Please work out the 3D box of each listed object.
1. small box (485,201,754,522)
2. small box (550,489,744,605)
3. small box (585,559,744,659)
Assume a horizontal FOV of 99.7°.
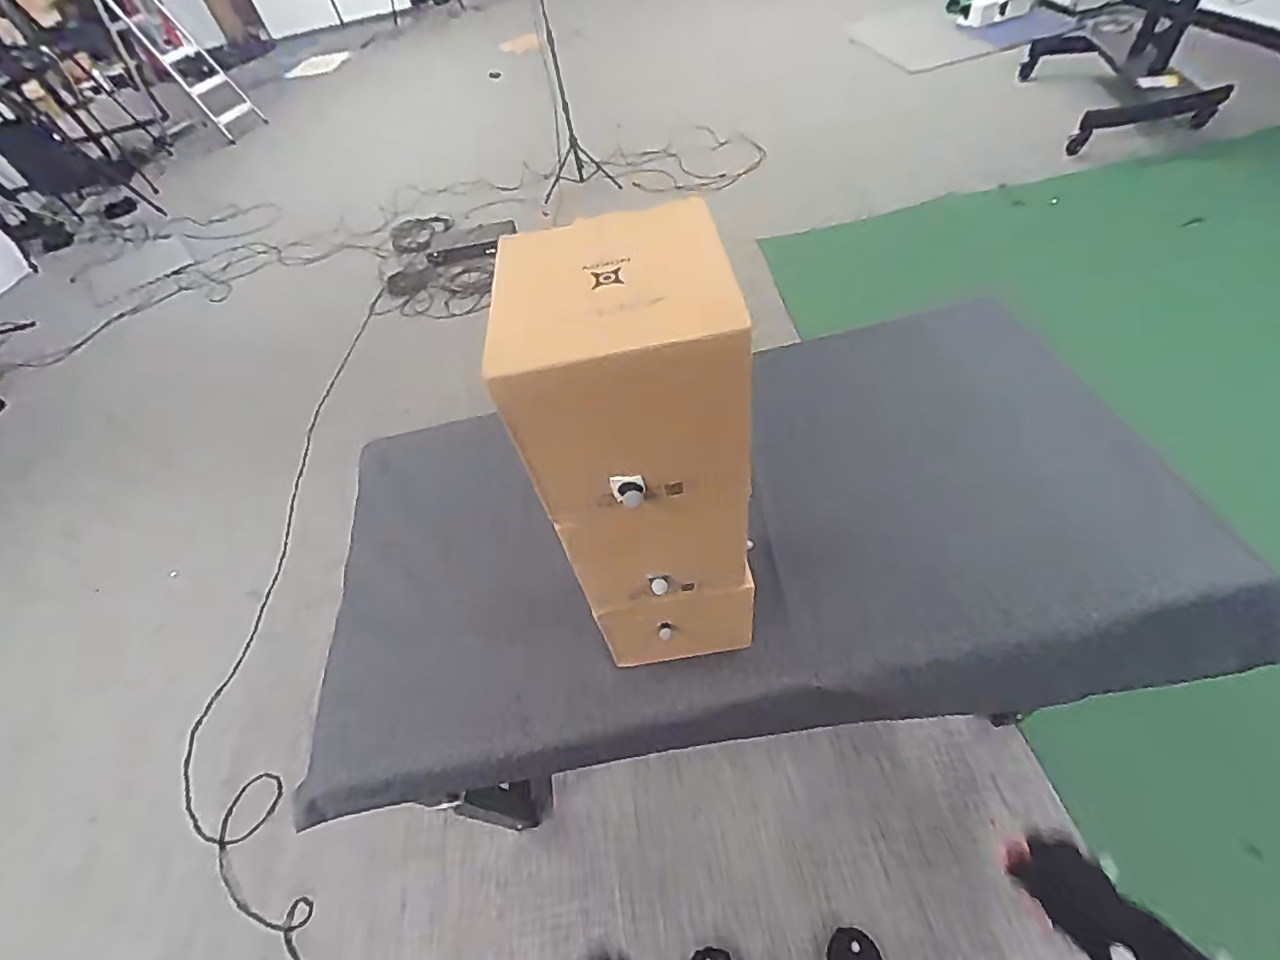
[{"bbox_3d":[-0.010,-0.090,0.436,0.168,0.176,0.179,-10,52,3],"label":"small box"},{"bbox_3d":[0.007,0.007,0.563,0.168,0.176,0.179,-9,52,2],"label":"small box"},{"bbox_3d":[0.032,0.113,0.687,0.179,0.176,0.168,-9,51,2],"label":"small box"}]
